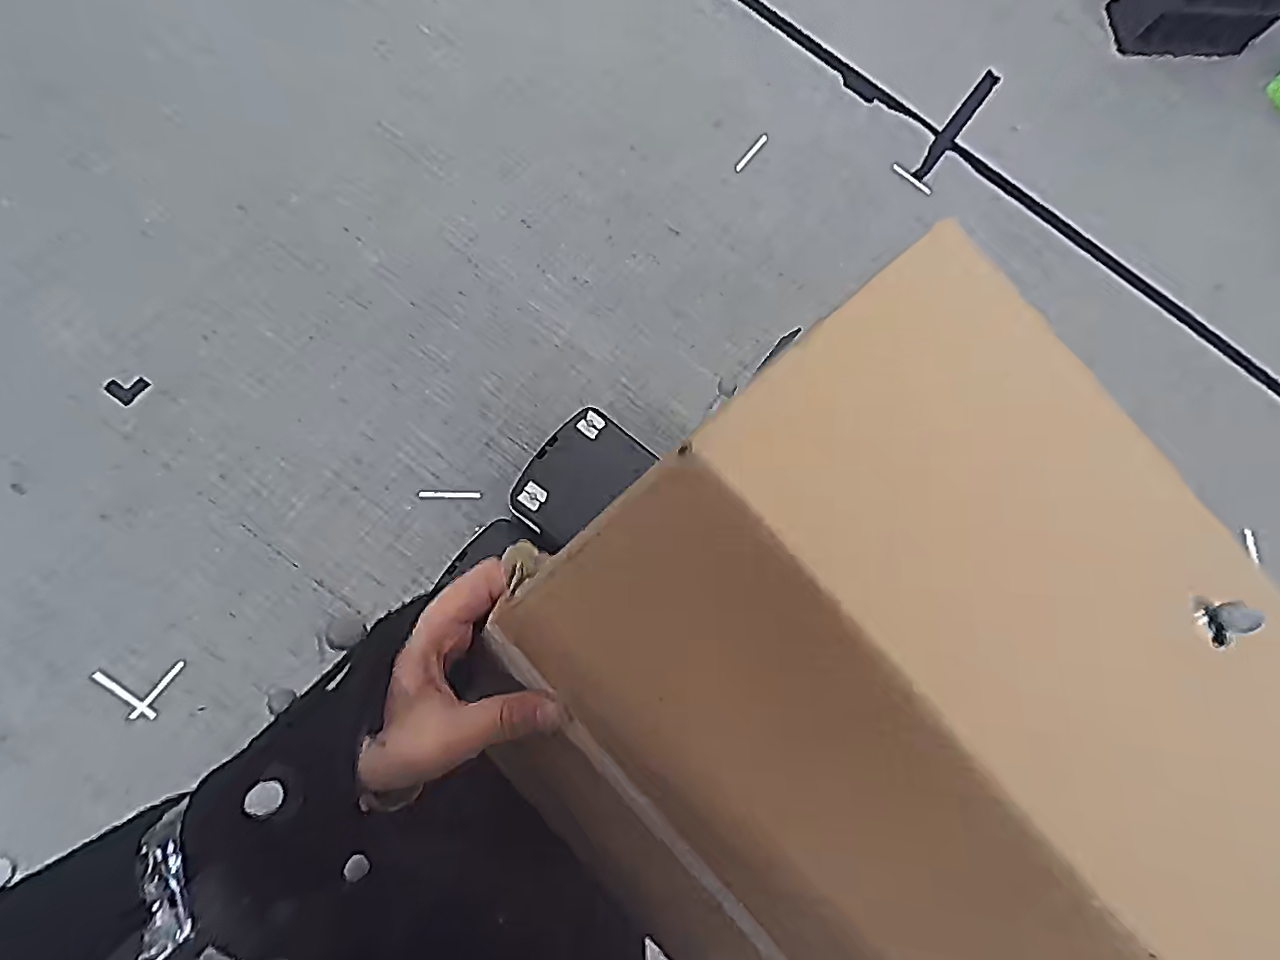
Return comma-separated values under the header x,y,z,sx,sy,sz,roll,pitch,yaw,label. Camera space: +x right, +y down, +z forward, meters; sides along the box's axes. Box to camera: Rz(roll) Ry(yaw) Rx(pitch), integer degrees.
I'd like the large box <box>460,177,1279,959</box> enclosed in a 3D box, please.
x,y,z,sx,sy,sz,roll,pitch,yaw,label
0.173,0.105,0.323,0.408,0.320,0.320,48,50,1,large box

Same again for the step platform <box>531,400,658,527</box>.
x,y,z,sx,sy,sz,roll,pitch,yaw,label
0.082,0.143,1.202,0.684,0.204,0.286,44,78,1,step platform
